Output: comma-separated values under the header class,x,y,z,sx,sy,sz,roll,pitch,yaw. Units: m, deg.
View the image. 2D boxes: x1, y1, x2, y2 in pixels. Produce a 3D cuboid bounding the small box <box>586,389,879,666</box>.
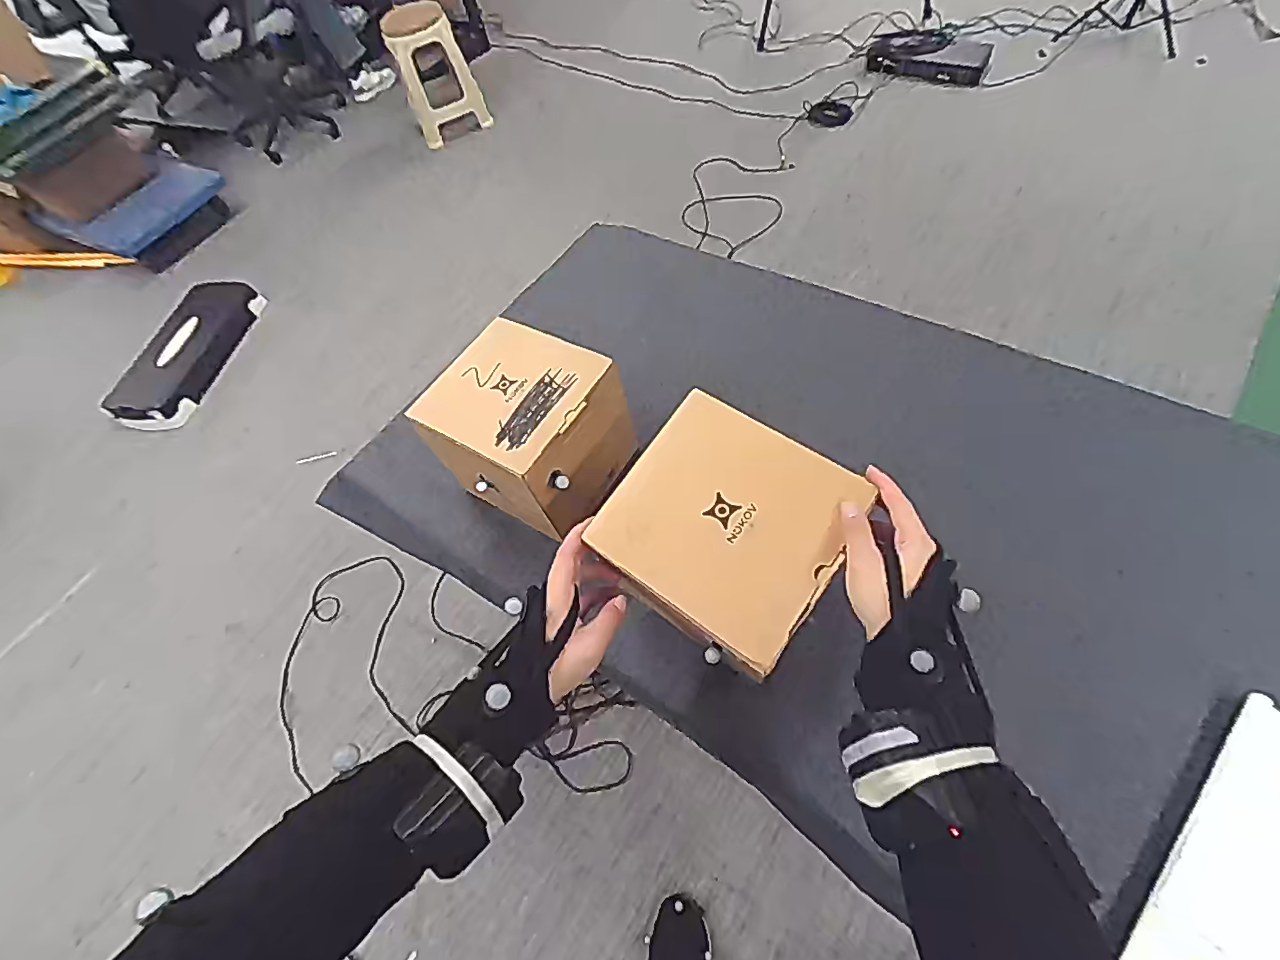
class,x,y,z,sx,sy,sz,roll,pitch,yaw
small box,0.081,0.054,0.500,0.179,0.176,0.168,32,76,20
